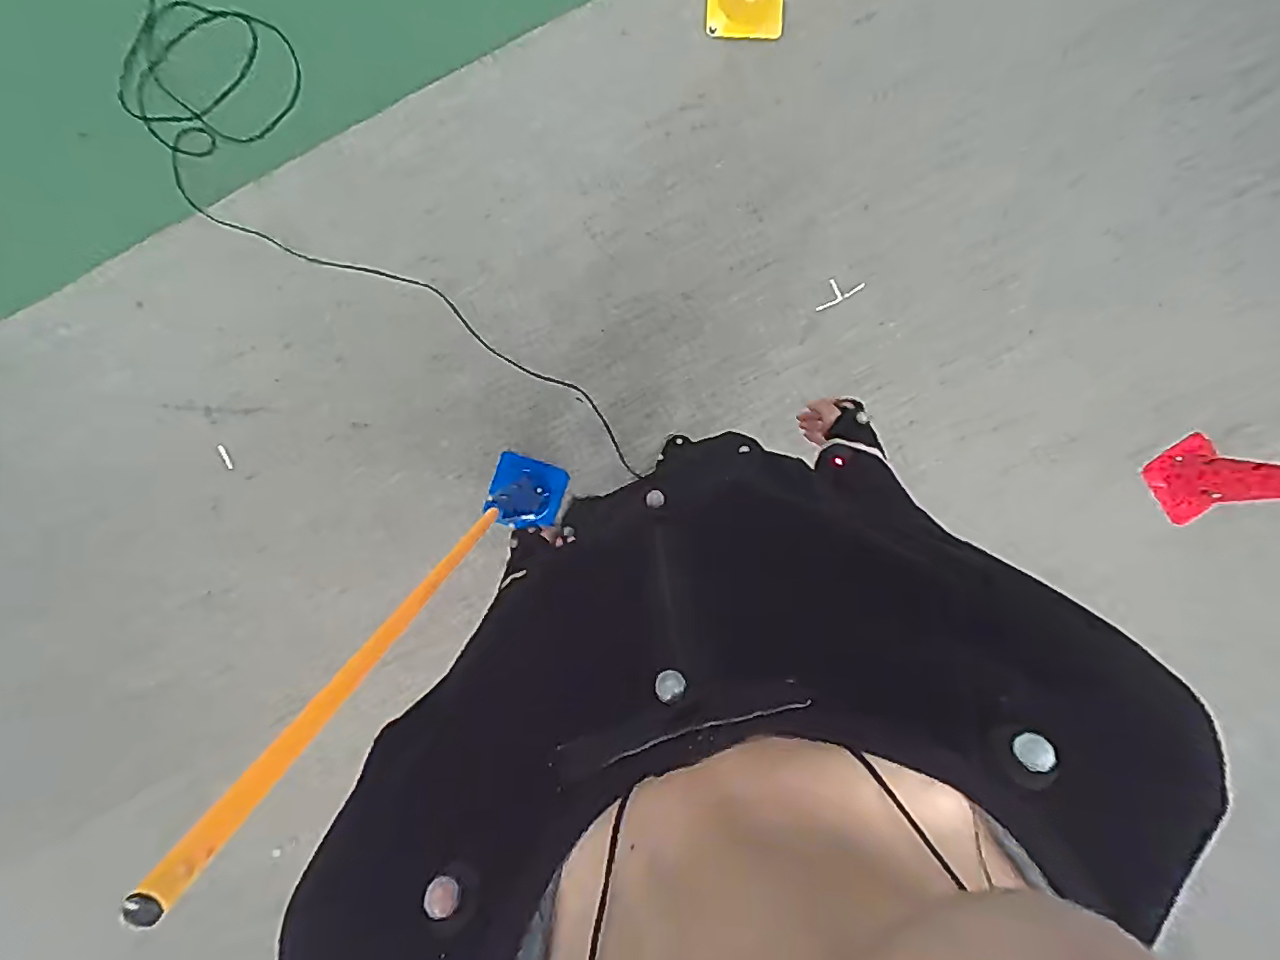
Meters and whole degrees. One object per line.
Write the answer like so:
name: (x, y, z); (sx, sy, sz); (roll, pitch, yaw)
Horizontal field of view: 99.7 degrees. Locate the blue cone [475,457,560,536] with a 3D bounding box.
blue cone: (-0.319, 0.063, 1.303); (0.192, 0.380, 0.193); (17, 95, -3)
